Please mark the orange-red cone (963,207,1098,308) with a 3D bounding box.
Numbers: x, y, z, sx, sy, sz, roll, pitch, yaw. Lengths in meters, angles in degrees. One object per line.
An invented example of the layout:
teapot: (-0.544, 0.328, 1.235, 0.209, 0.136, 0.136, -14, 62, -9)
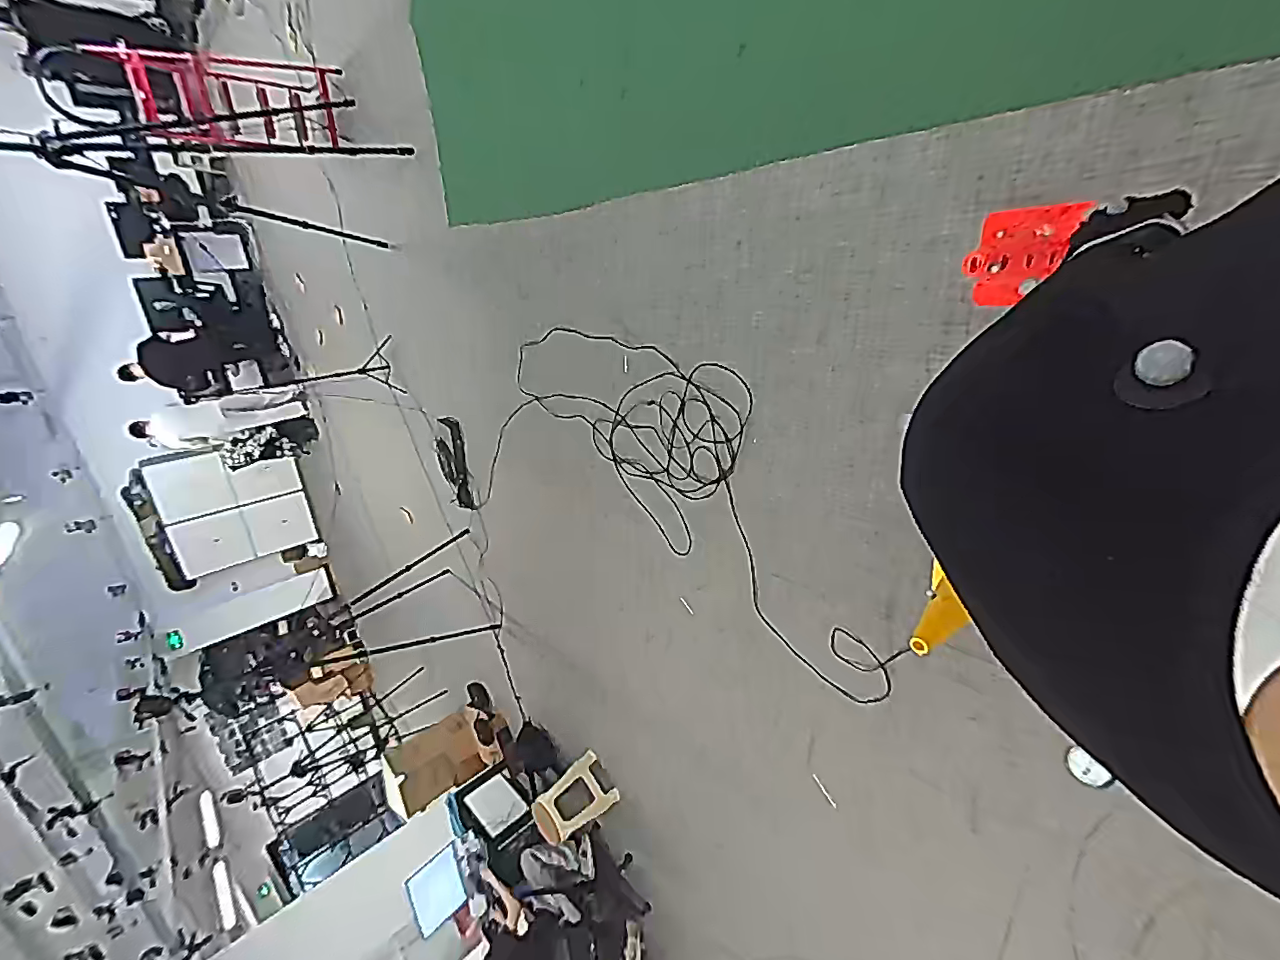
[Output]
orange-red cone: (0.727, -0.426, 1.069, 0.198, 0.360, 0.199, 19, 122, 45)
